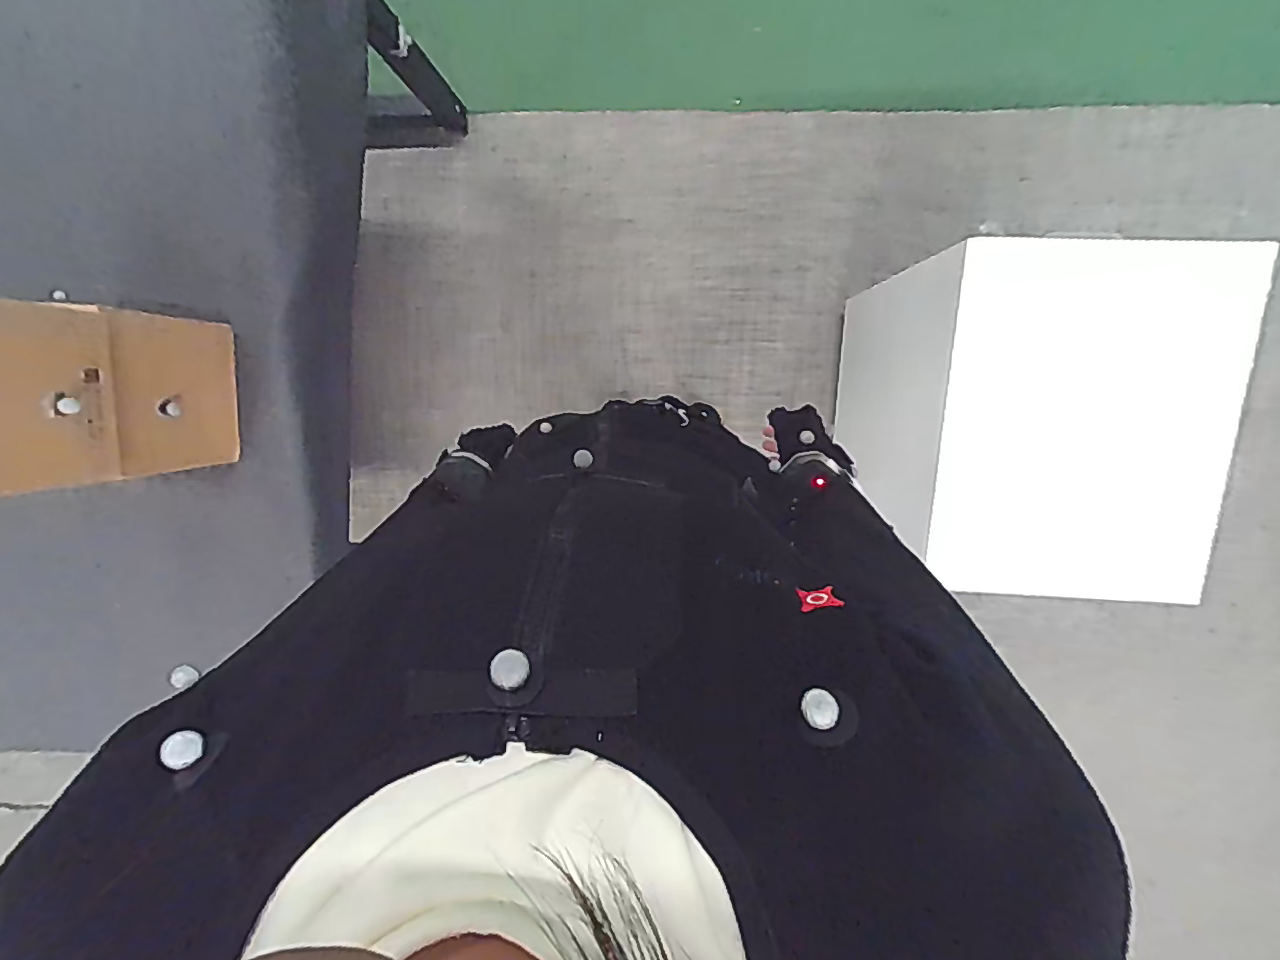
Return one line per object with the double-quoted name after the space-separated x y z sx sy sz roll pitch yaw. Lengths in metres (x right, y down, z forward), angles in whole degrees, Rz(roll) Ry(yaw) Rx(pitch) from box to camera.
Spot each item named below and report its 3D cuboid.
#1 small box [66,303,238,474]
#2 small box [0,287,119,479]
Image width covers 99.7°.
-0.612 -0.112 0.633 0.168 0.176 0.179 5 101 4 "small box"
-0.623 -0.085 0.471 0.179 0.176 0.168 2 100 6 "small box"
